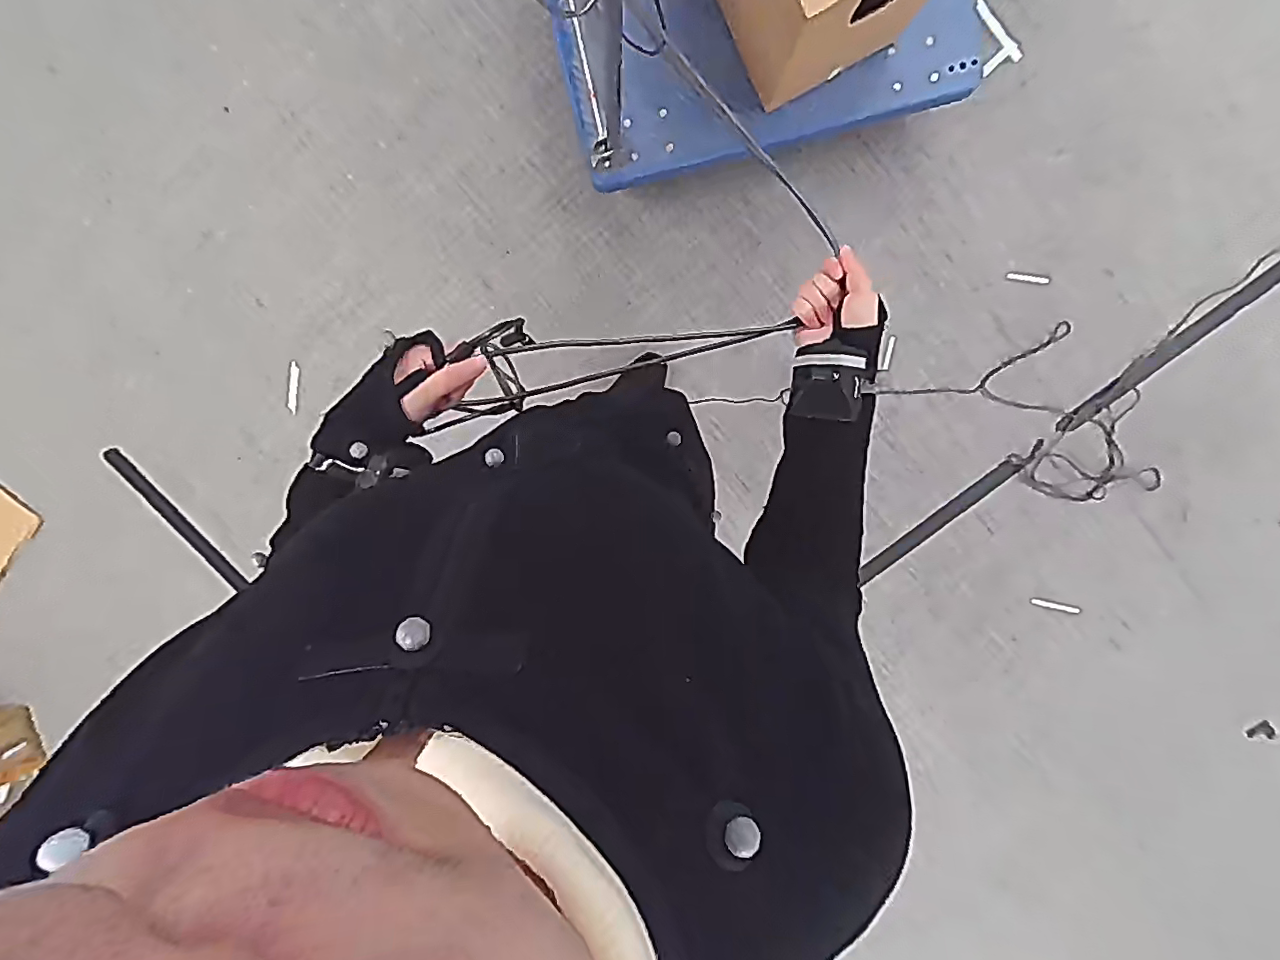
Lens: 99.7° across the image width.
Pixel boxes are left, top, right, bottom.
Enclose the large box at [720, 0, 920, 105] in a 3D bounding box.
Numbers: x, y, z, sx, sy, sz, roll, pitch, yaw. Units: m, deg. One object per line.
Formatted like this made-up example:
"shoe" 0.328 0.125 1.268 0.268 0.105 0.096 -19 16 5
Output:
"large box" 0.313 -1.012 0.968 0.320 0.320 0.408 -27 100 6
